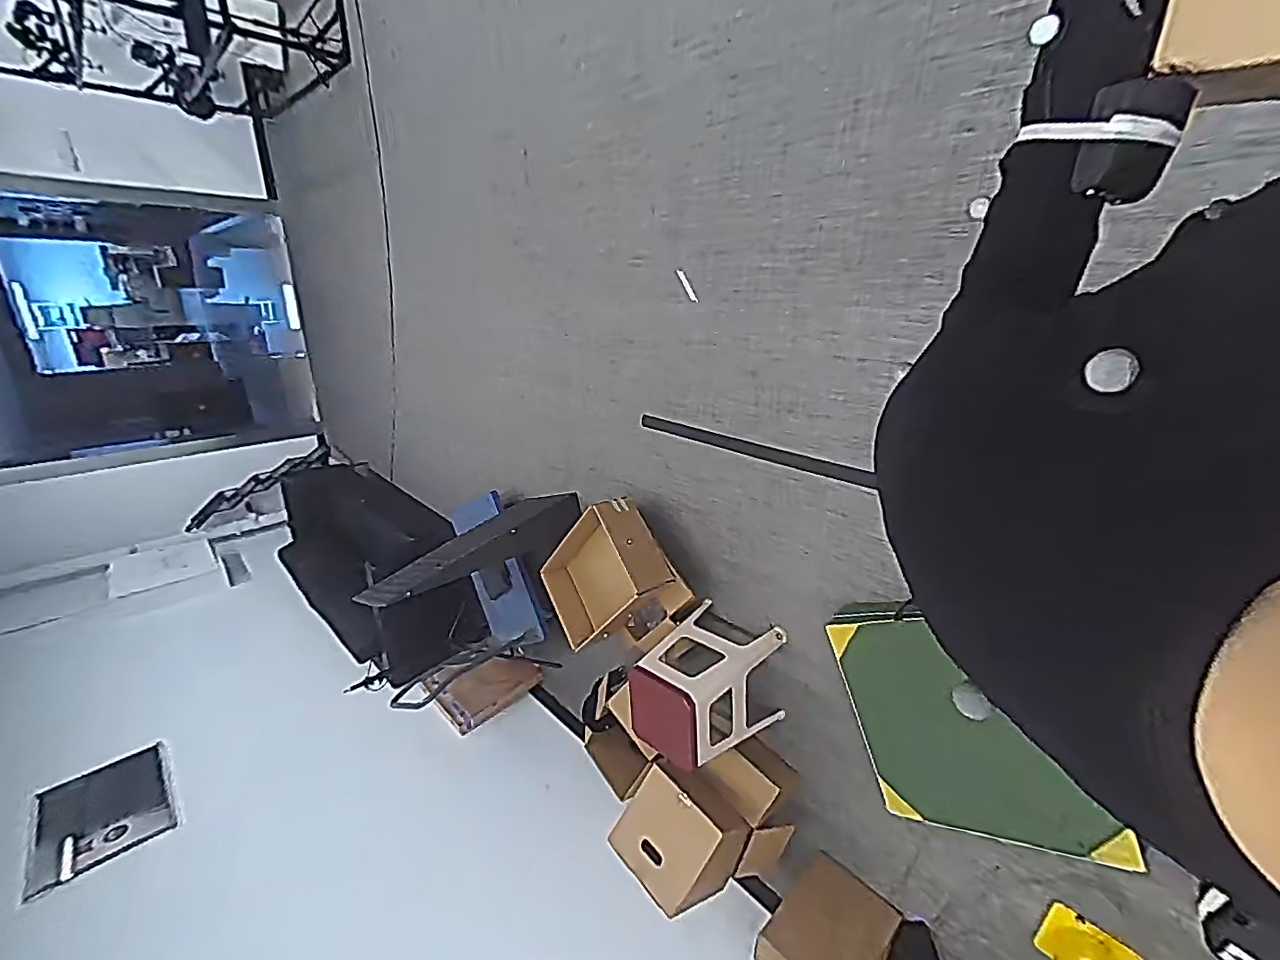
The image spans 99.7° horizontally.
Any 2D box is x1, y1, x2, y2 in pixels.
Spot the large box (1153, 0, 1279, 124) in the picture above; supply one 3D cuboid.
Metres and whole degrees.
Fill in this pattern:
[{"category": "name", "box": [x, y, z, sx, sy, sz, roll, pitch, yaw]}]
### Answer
[{"category": "large box", "box": [0.567, -0.391, 0.257, 0.408, 0.320, 0.320, 20, 126, 40]}]
